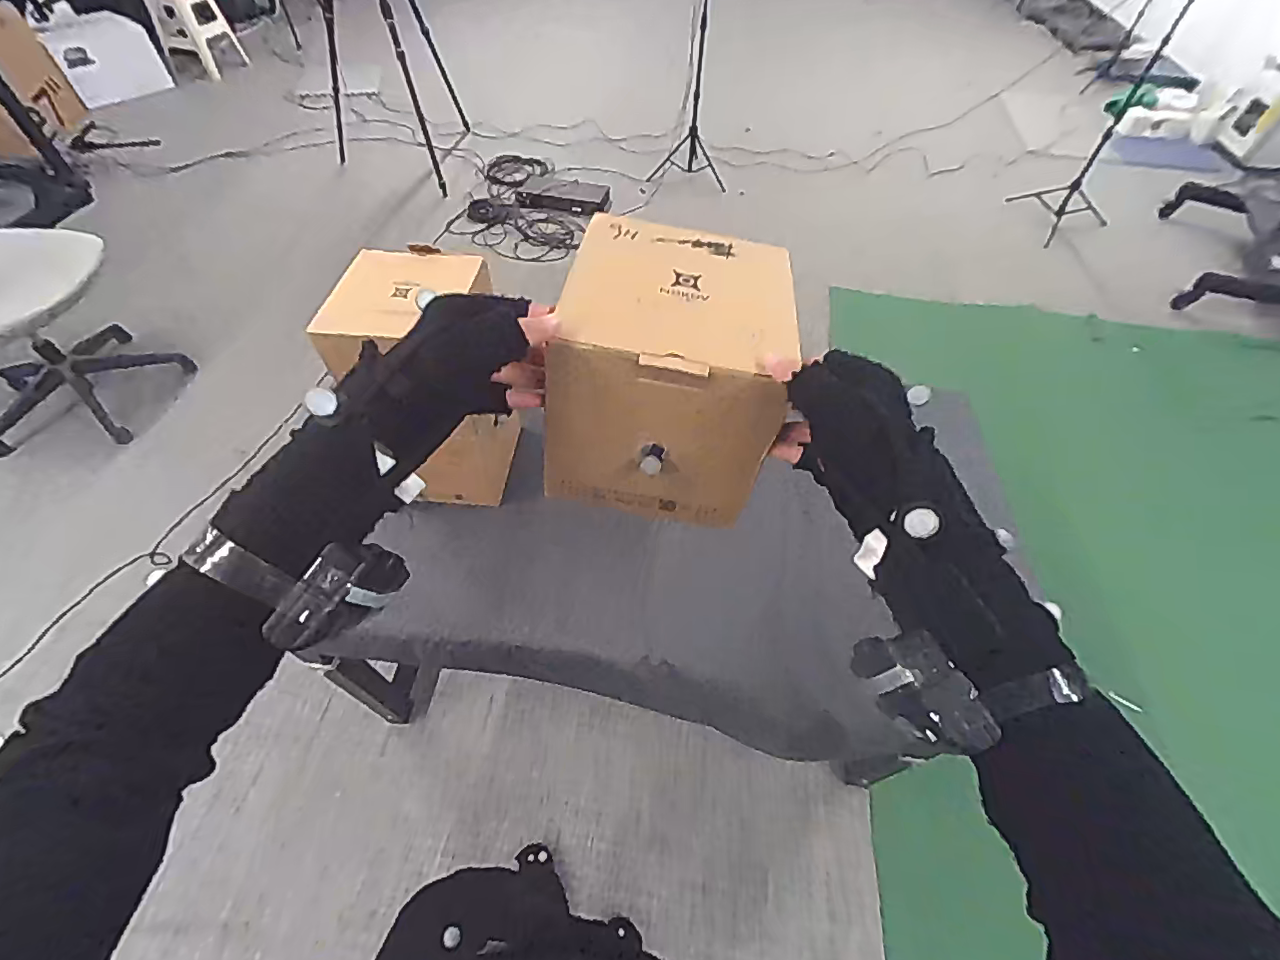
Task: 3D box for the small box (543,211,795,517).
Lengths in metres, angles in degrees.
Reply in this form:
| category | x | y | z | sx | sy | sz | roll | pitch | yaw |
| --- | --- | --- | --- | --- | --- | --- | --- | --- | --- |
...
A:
| category | x | y | z | sx | sy | sz | roll | pitch | yaw |
| --- | --- | --- | --- | --- | --- | --- | --- | --- | --- |
| small box | 0.021 | -0.090 | 0.455 | 0.168 | 0.176 | 0.179 | 10 | 52 | -2 |

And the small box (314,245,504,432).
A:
| category | x | y | z | sx | sy | sz | roll | pitch | yaw |
| --- | --- | --- | --- | --- | --- | --- | --- | --- | --- |
| small box | -0.288 | -0.187 | 0.725 | 0.168 | 0.176 | 0.179 | 3 | 55 | 1 |

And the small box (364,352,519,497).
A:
| category | x | y | z | sx | sy | sz | roll | pitch | yaw |
| --- | --- | --- | --- | --- | --- | --- | --- | --- | --- |
| small box | -0.296 | -0.090 | 0.855 | 0.168 | 0.176 | 0.179 | 5 | 53 | 0 |
